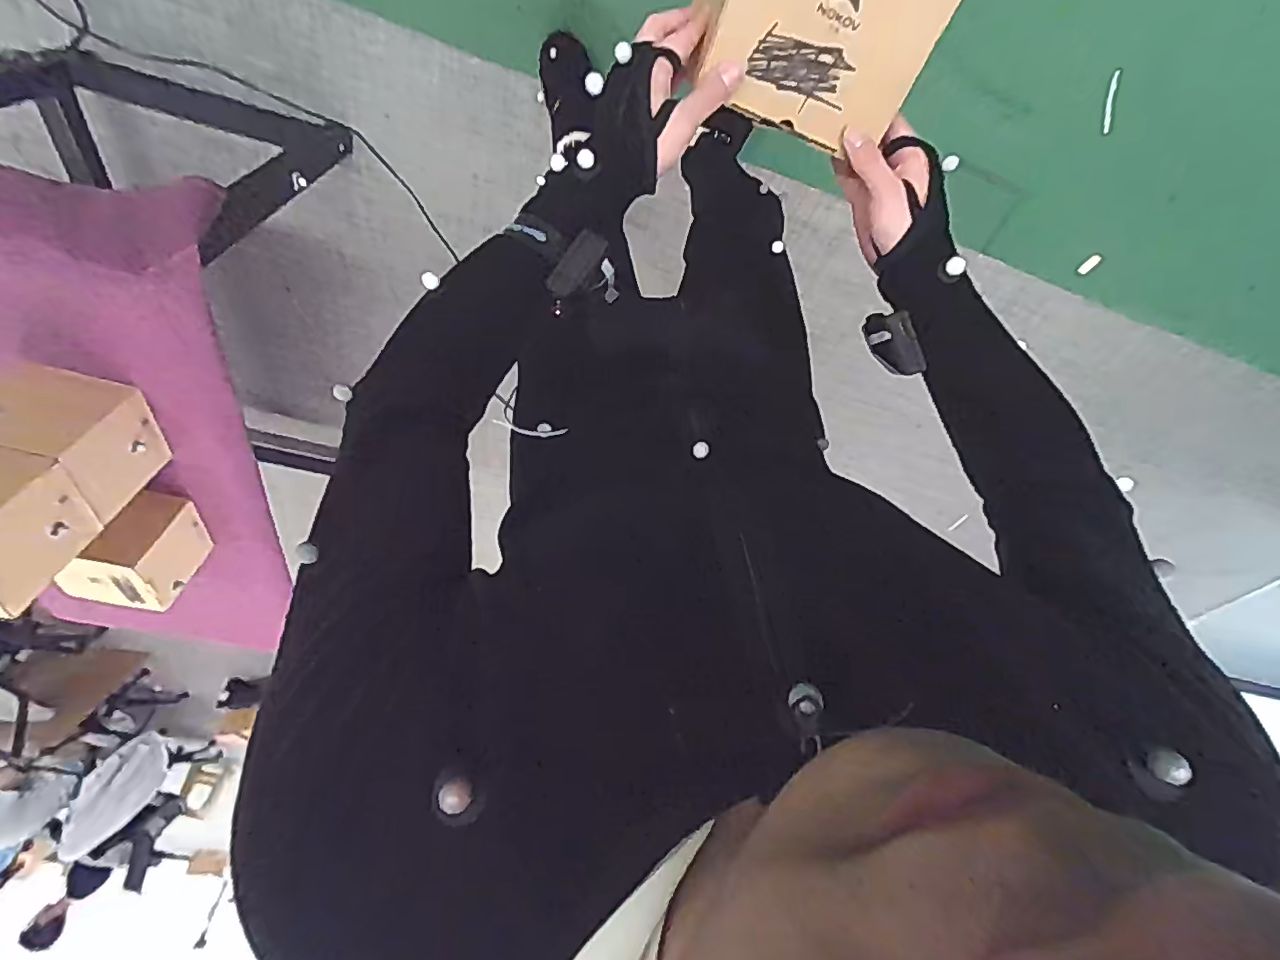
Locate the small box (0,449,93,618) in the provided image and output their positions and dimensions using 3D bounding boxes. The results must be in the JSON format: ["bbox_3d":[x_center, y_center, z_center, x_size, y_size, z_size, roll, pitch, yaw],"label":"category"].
[{"bbox_3d":[-0.925,0.058,0.732,0.179,0.176,0.168,14,135,-10],"label":"small box"}]

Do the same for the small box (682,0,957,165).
[{"bbox_3d":[0.143,-0.408,0.456,0.168,0.176,0.179,13,130,-16],"label":"small box"}]

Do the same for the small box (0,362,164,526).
[{"bbox_3d":[-0.912,-0.059,0.844,0.179,0.176,0.168,14,136,-10],"label":"small box"}]
